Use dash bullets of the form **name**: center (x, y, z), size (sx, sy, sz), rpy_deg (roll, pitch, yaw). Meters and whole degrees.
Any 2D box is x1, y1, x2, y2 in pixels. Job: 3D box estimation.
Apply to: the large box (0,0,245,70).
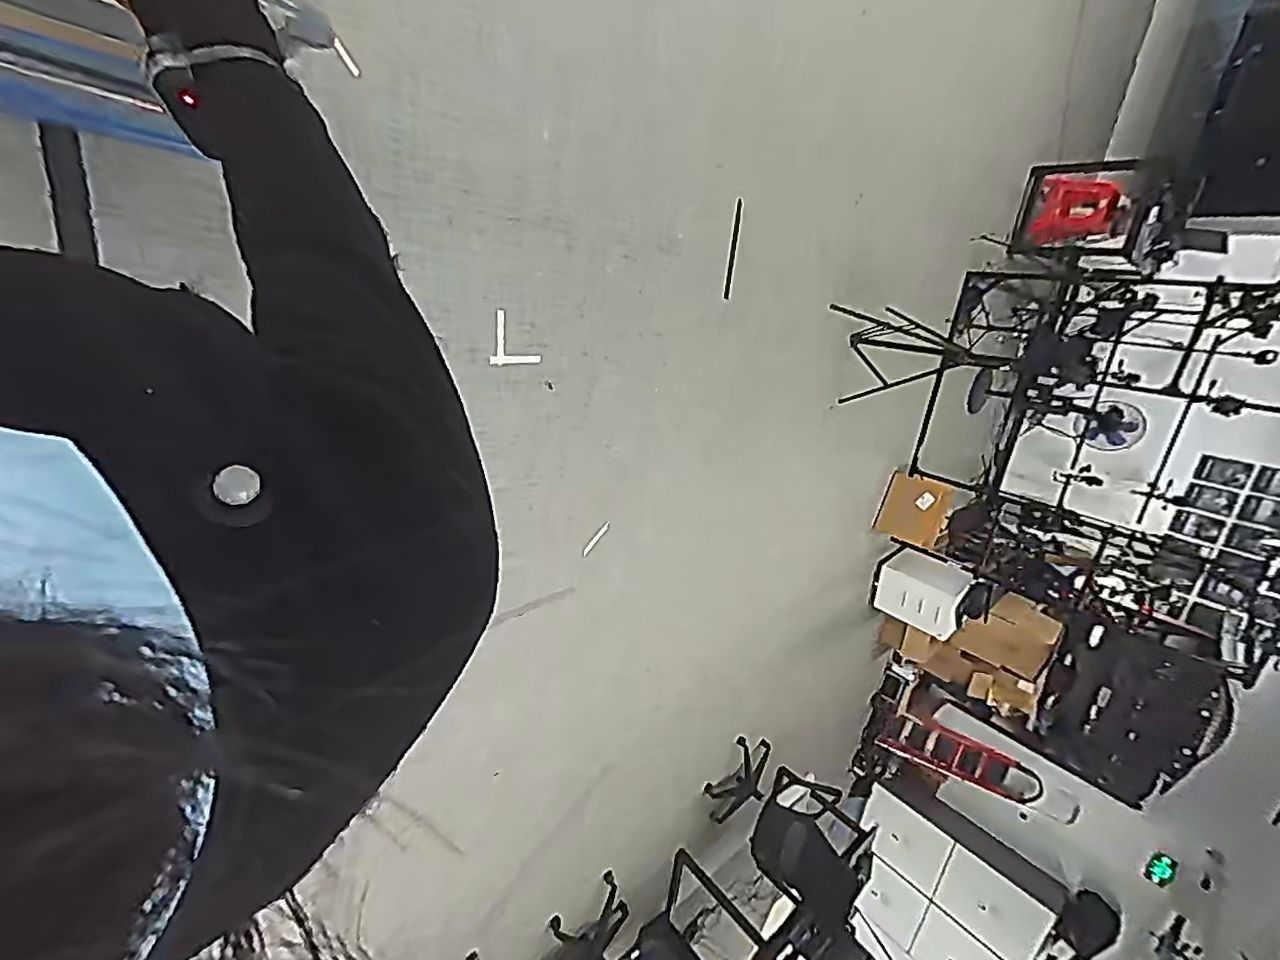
- **large box**: center (-0.762, -0.764, 0.645), size (0.408, 0.320, 0.320), rpy_deg (-12, 117, -42)
